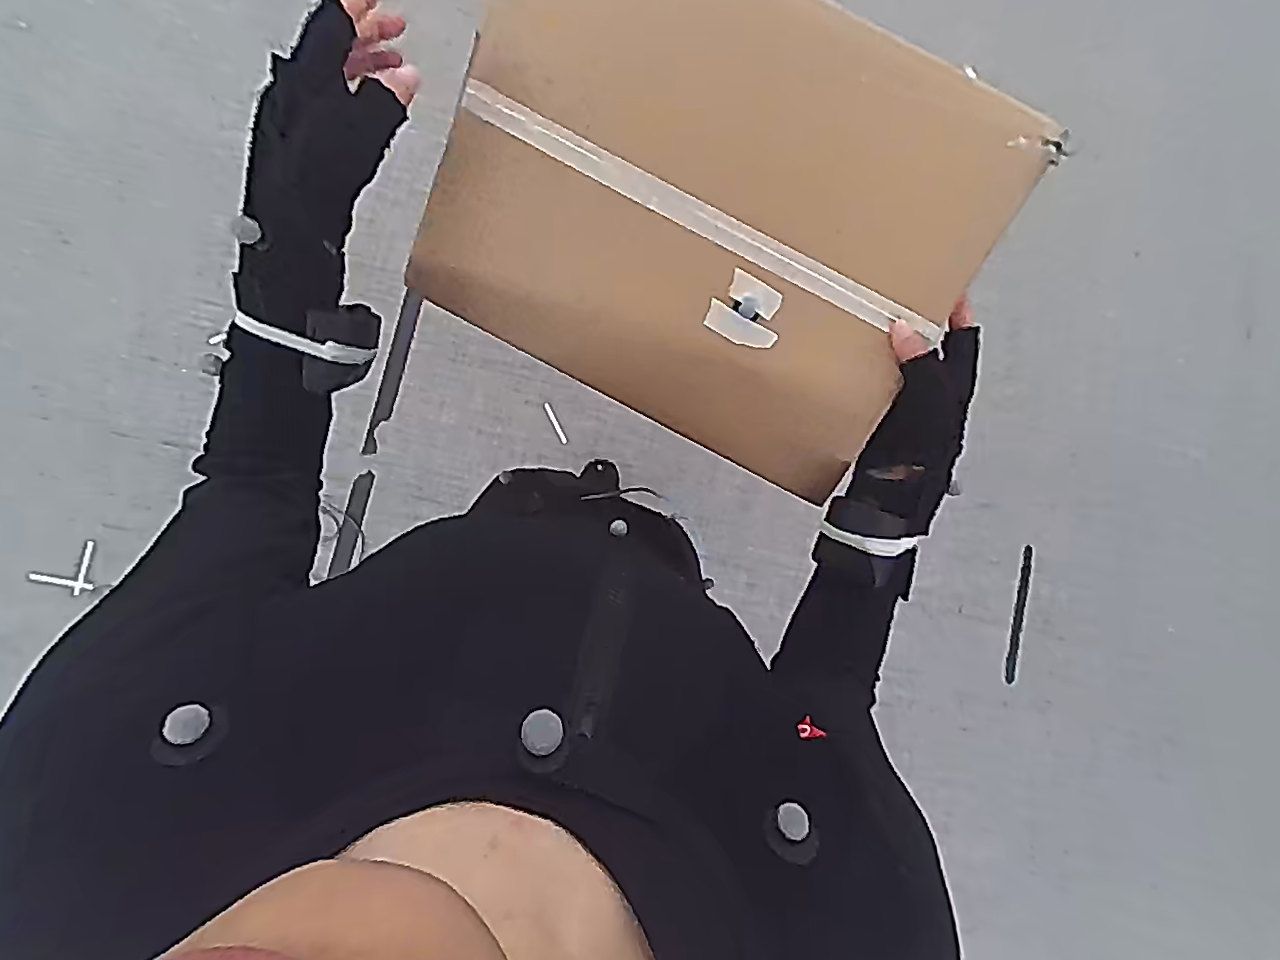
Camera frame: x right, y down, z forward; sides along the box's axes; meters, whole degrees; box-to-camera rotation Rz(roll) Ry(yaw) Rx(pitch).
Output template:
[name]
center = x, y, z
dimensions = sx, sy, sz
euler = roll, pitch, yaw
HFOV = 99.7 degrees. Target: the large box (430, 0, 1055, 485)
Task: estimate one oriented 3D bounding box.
[large box]
center = 0.075, -0.252, 0.571
dimensions = 0.408, 0.320, 0.320
euler = 29, 109, -1
